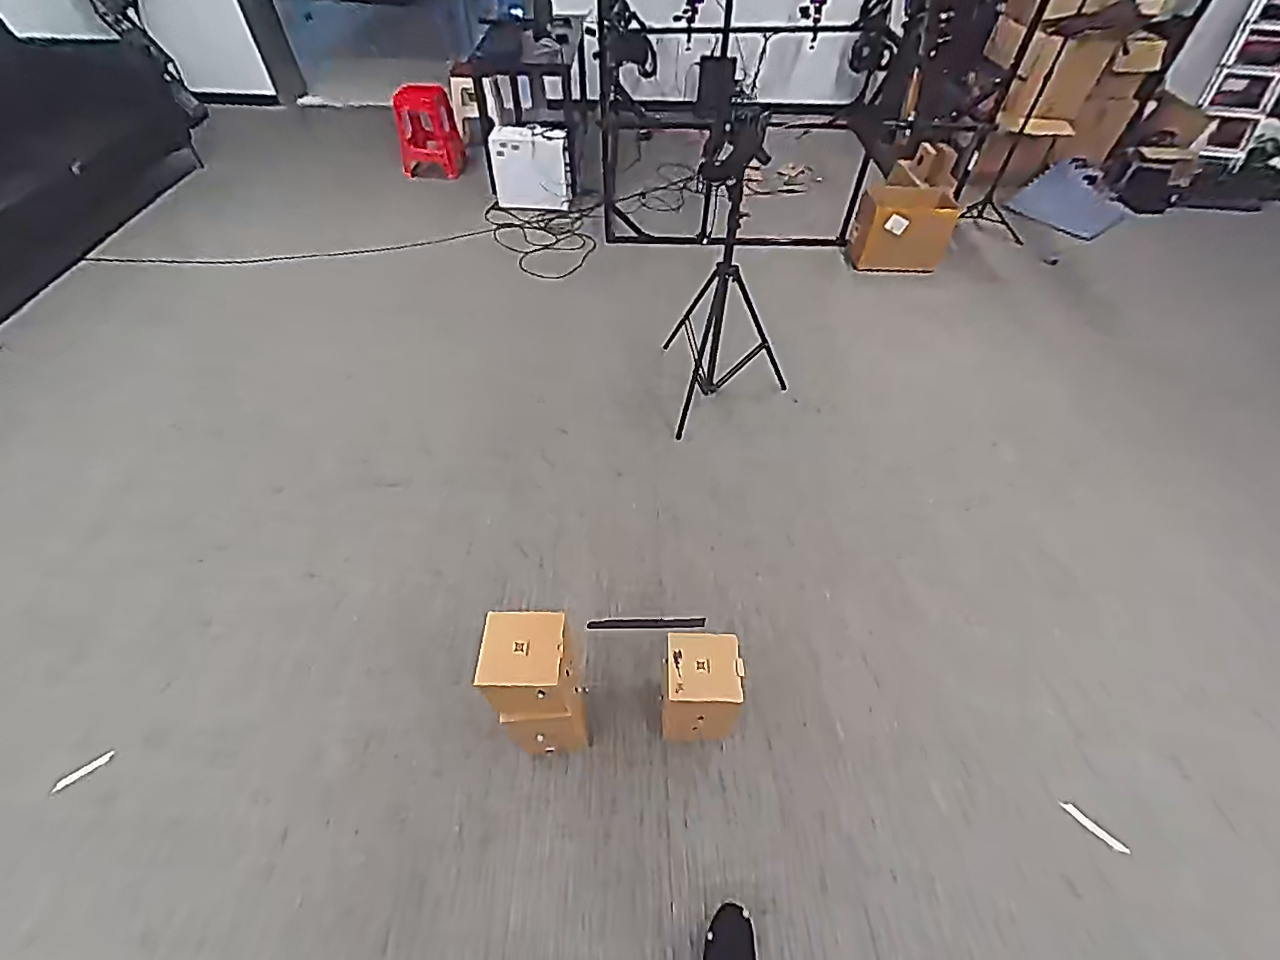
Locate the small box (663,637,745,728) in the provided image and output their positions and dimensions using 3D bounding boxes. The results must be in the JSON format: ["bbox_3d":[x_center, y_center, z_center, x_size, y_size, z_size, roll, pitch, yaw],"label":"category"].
[{"bbox_3d":[0.153,0.506,1.346,0.179,0.176,0.168,3,50,0],"label":"small box"}]

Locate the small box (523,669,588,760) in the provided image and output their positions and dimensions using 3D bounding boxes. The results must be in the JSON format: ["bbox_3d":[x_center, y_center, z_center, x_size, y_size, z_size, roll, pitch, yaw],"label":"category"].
[{"bbox_3d":[-0.230,0.629,1.452,0.168,0.176,0.179,-4,50,-4],"label":"small box"}]

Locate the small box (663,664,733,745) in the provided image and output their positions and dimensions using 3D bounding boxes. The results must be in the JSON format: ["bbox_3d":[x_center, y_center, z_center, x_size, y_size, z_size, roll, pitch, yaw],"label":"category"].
[{"bbox_3d":[0.151,0.613,1.471,0.179,0.176,0.168,2,50,0],"label":"small box"}]

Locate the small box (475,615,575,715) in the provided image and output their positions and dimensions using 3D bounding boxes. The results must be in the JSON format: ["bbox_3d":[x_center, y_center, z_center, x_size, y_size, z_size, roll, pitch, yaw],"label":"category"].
[{"bbox_3d":[-0.247,0.415,1.206,0.179,0.176,0.168,1,50,0],"label":"small box"}]

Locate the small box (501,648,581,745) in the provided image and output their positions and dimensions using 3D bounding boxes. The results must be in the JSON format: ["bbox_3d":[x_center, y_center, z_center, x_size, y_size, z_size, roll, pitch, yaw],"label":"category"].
[{"bbox_3d":[-0.236,0.528,1.323,0.168,0.176,0.179,-3,51,-3],"label":"small box"}]
